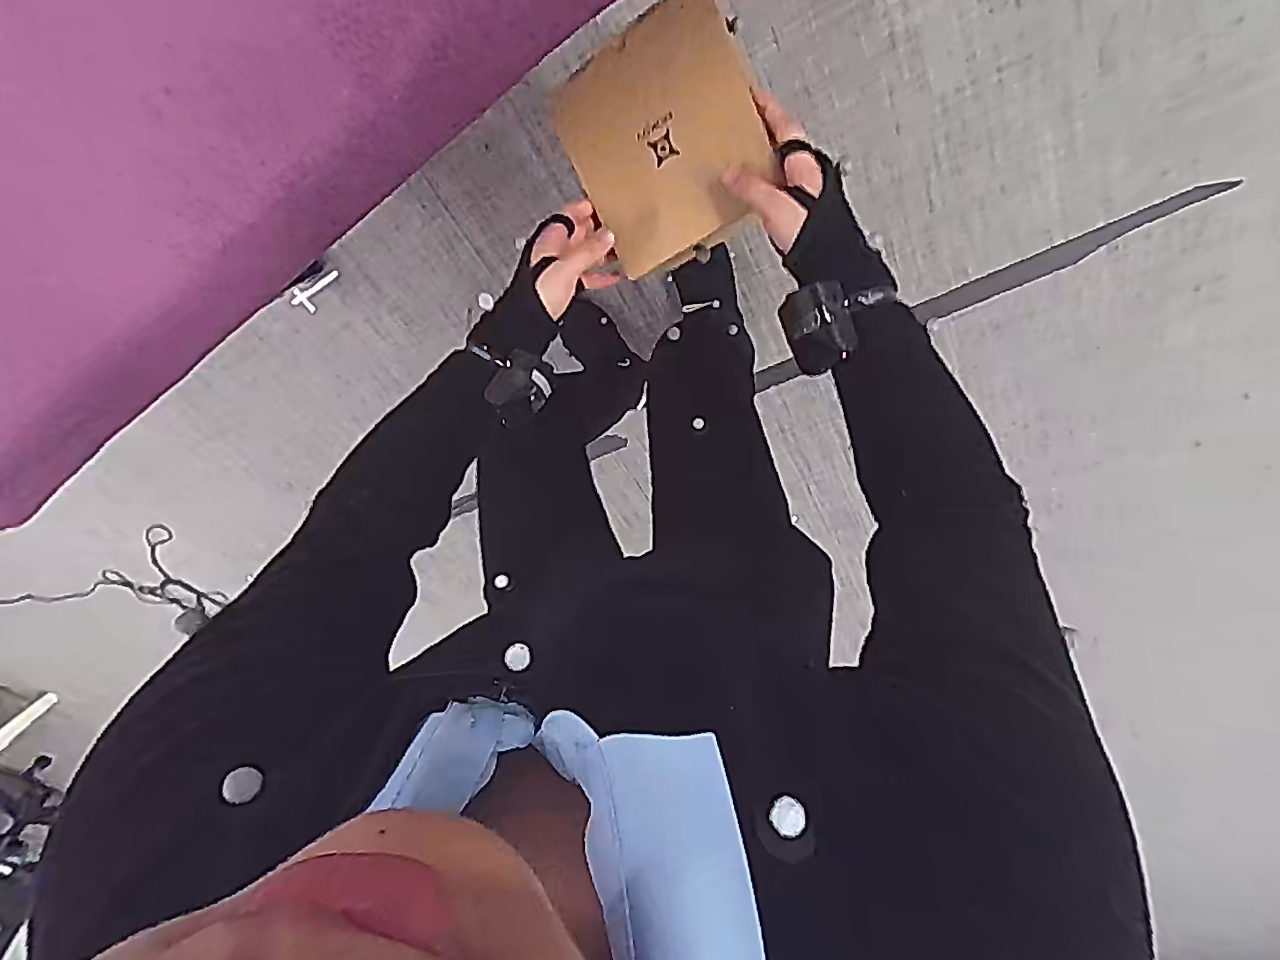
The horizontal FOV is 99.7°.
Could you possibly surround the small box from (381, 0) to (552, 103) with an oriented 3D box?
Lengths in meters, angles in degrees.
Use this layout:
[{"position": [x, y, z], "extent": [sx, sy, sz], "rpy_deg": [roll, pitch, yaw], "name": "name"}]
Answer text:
[{"position": [-0.247, -0.679, 0.772], "extent": [0.168, 0.176, 0.179], "rpy_deg": [-22, 122, 18], "name": "small box"}]
